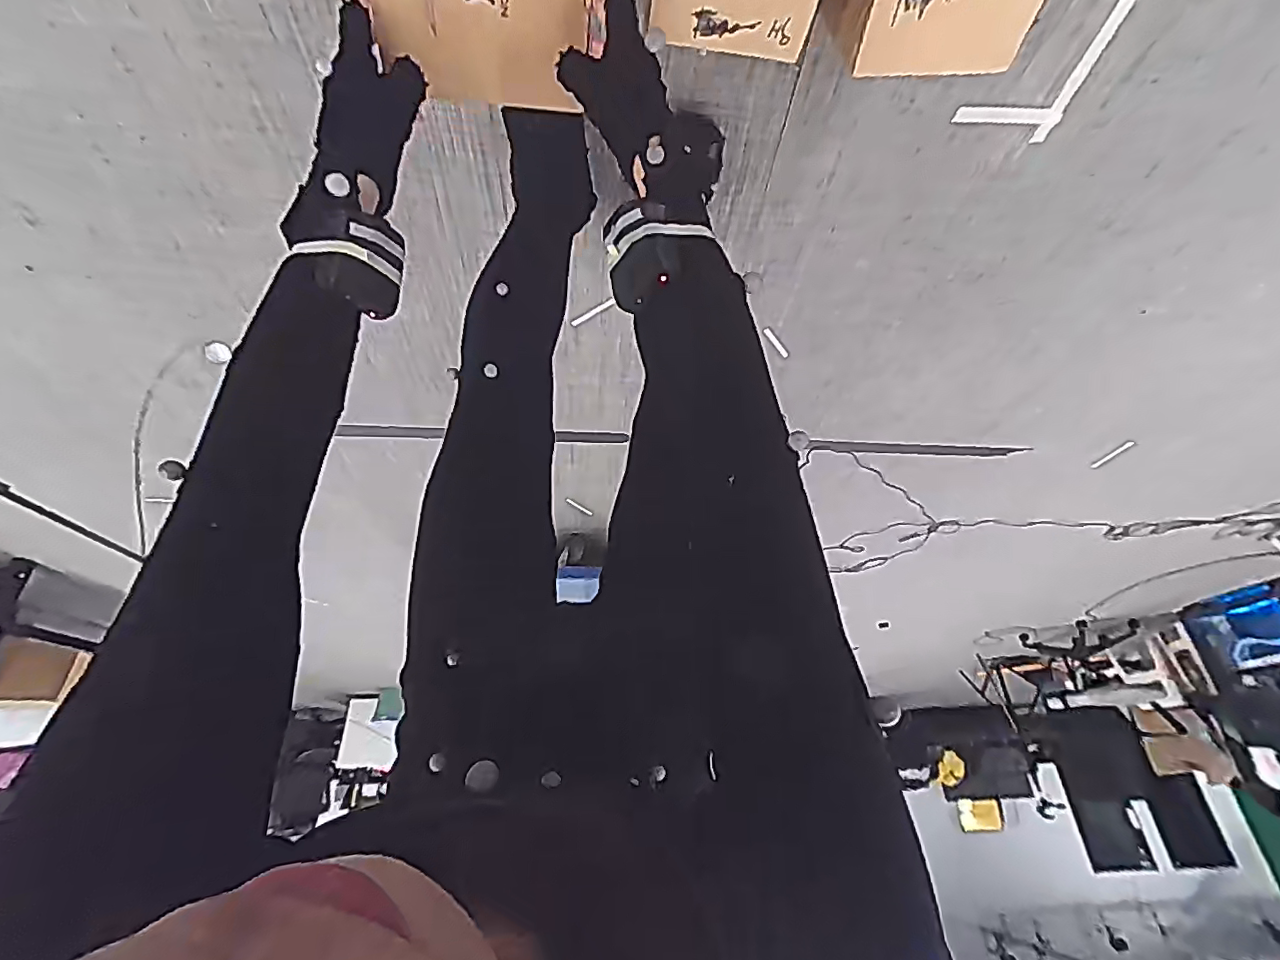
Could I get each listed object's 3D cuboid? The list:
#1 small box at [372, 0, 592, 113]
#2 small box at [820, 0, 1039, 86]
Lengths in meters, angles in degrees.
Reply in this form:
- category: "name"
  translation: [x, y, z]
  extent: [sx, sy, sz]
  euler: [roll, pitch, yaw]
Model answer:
- category: "small box"
  translation: [-0.140, -0.455, 0.476]
  extent: [0.179, 0.176, 0.168]
  euler: [-4, 143, -14]
- category: "small box"
  translation: [0.307, -0.548, 0.569]
  extent: [0.179, 0.176, 0.168]
  euler: [-2, 150, -2]
